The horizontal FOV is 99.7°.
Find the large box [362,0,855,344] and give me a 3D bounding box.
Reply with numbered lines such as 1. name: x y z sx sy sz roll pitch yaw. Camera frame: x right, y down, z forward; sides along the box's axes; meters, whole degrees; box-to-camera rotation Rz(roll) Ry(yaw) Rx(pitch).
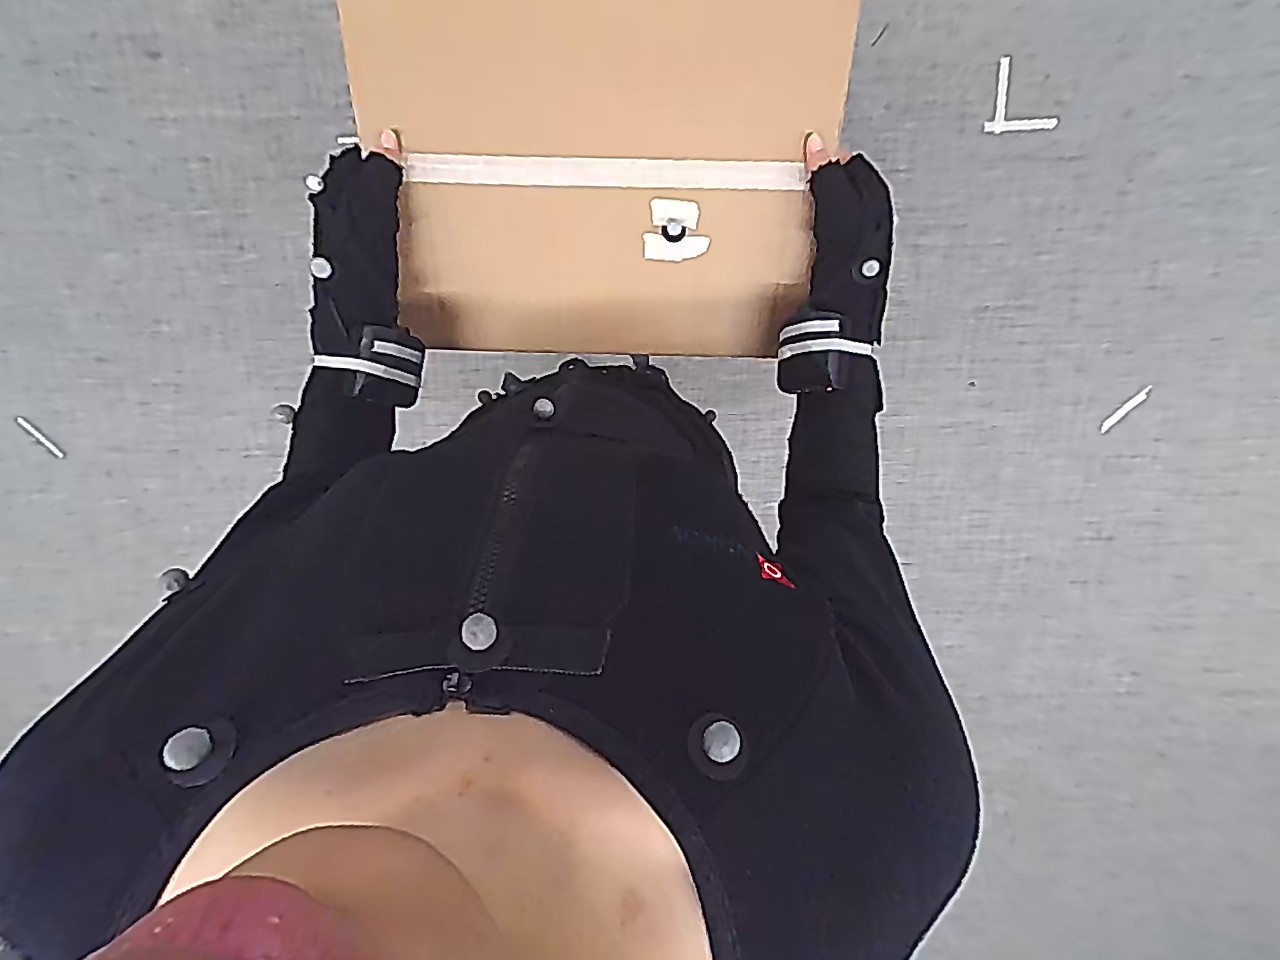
1. large box: -0.028 -0.339 0.617 0.408 0.320 0.320 1 115 0
